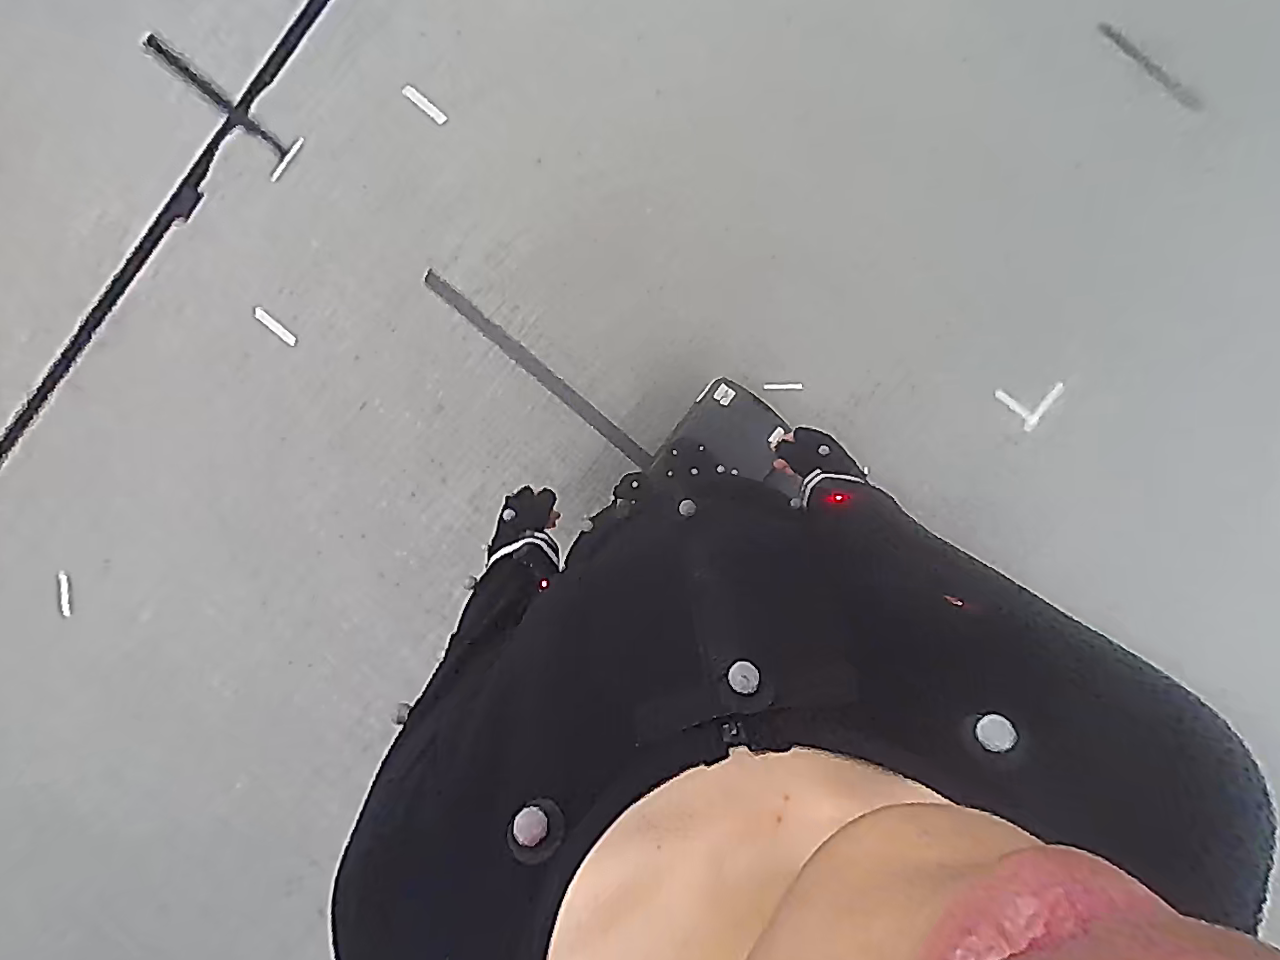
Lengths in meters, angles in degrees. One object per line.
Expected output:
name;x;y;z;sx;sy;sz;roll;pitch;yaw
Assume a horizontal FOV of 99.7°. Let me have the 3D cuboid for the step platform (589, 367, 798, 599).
step platform;0.149;0.008;1.578;0.286;0.204;0.684;37;92;-2
